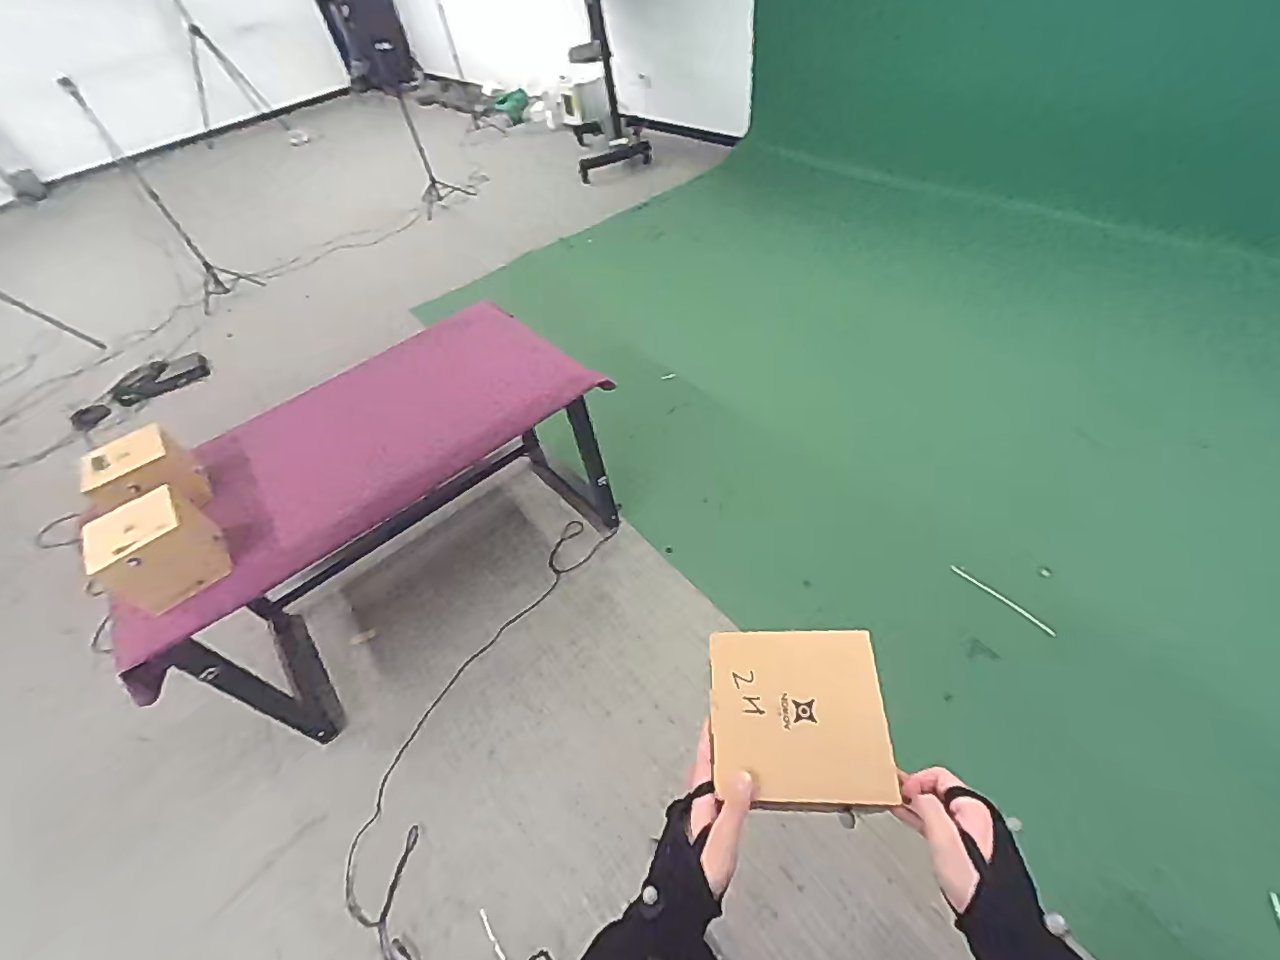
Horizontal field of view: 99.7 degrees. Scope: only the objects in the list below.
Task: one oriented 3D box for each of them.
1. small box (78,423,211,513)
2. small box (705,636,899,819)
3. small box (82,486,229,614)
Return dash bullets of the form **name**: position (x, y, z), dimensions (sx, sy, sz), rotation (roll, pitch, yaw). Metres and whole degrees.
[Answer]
- **small box**: position (-1.209, -0.001, 1.325), dimensions (0.179, 0.176, 0.168), rotation (-34, 52, -21)
- **small box**: position (0.168, 0.283, 0.613), dimensions (0.179, 0.176, 0.168), rotation (-4, 56, 9)
- **small box**: position (-1.028, 0.151, 1.155), dimensions (0.168, 0.176, 0.179), rotation (-37, 51, -21)
